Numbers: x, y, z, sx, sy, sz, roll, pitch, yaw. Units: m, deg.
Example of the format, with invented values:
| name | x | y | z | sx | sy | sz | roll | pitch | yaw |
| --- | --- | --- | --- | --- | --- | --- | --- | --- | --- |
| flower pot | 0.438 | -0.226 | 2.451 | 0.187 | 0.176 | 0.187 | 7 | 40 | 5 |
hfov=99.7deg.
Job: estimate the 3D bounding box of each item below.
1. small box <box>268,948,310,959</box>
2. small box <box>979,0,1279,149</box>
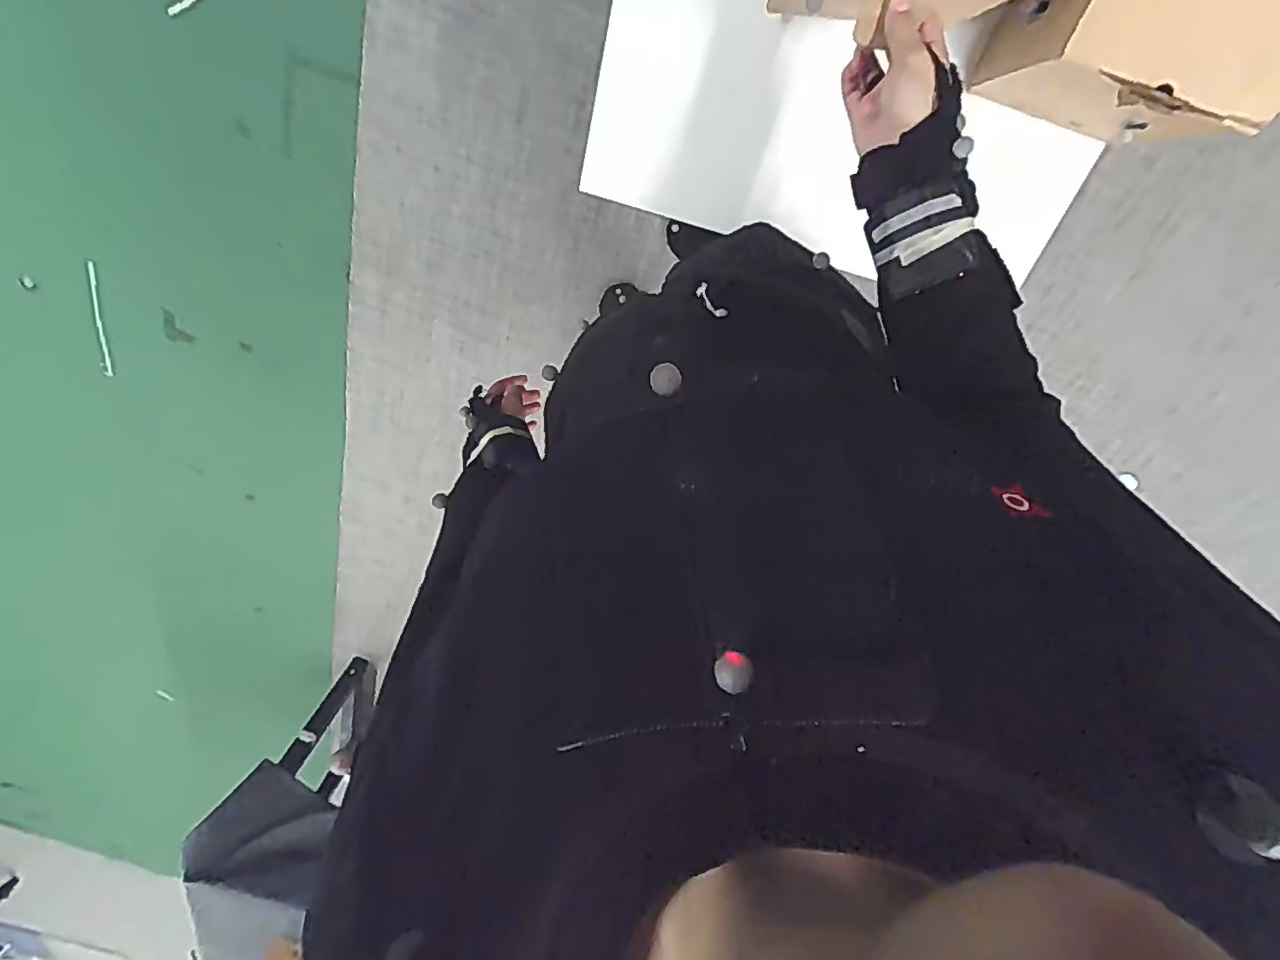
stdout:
| name | x | y | z | sx | sy | sz | roll | pitch | yaw |
| --- | --- | --- | --- | --- | --- | --- | --- | --- | --- |
| small box | -0.941 | 1.368 | 1.404 | 0.168 | 0.176 | 0.179 | 29 | 118 | -9 |
| small box | 0.407 | -0.380 | 0.421 | 0.168 | 0.176 | 0.179 | 17 | 119 | -3 |
